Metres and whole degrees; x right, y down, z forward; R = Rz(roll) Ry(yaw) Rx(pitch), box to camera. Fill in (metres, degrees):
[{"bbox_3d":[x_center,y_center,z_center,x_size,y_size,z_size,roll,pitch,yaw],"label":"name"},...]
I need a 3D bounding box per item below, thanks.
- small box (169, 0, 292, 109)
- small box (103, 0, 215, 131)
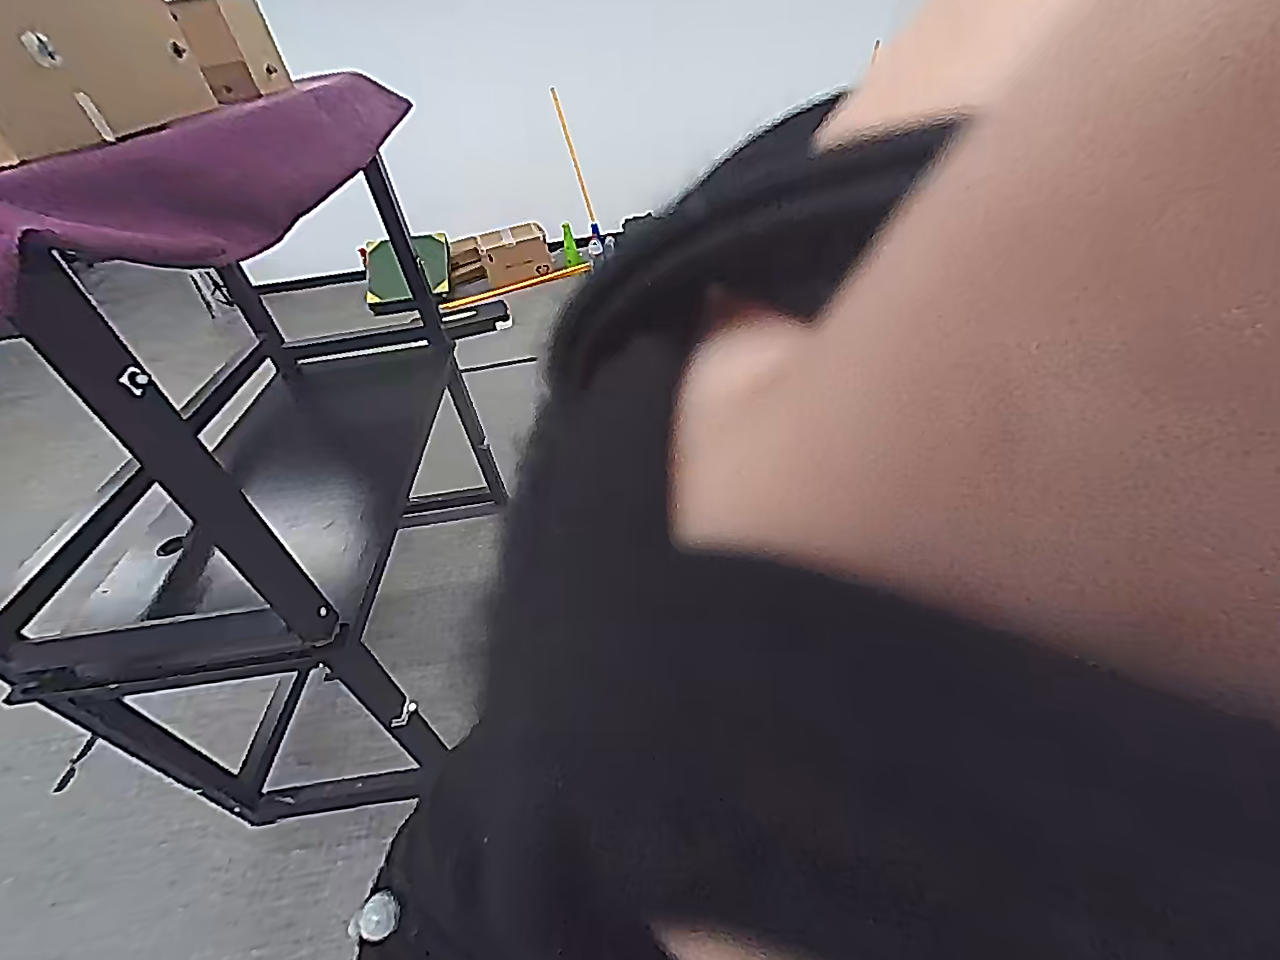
[{"bbox_3d":[-0.897,-0.914,1.168,0.168,0.176,0.179,-8,40,2],"label":"small box"},{"bbox_3d":[-0.864,-0.682,0.900,0.168,0.176,0.179,-9,41,0],"label":"small box"}]
